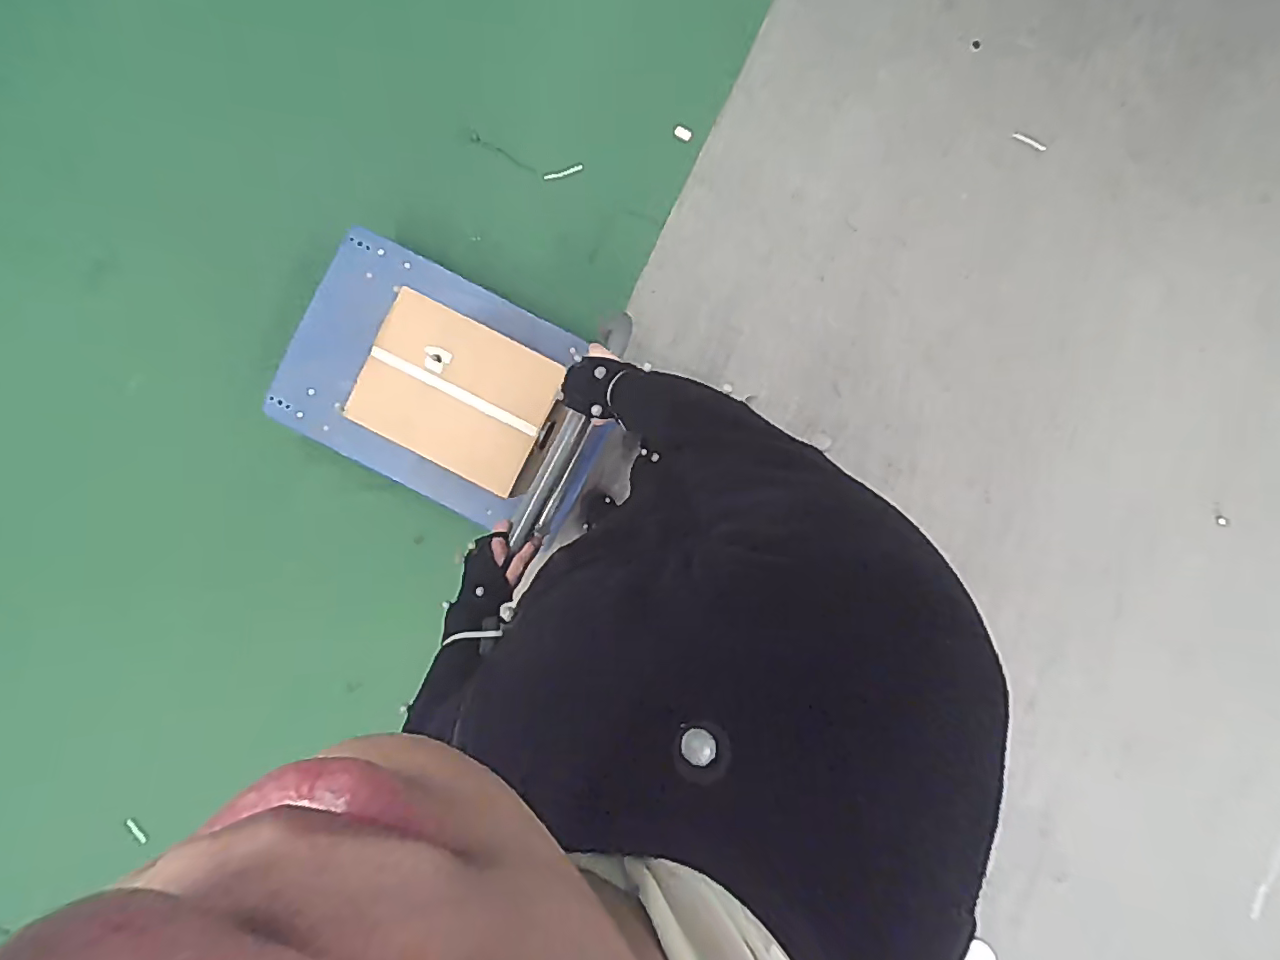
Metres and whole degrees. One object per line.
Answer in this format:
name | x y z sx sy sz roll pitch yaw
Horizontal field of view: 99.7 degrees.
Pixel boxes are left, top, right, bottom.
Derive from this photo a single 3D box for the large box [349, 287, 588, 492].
large box | -0.381 -0.199 1.308 0.408 0.320 0.320 27 92 1
